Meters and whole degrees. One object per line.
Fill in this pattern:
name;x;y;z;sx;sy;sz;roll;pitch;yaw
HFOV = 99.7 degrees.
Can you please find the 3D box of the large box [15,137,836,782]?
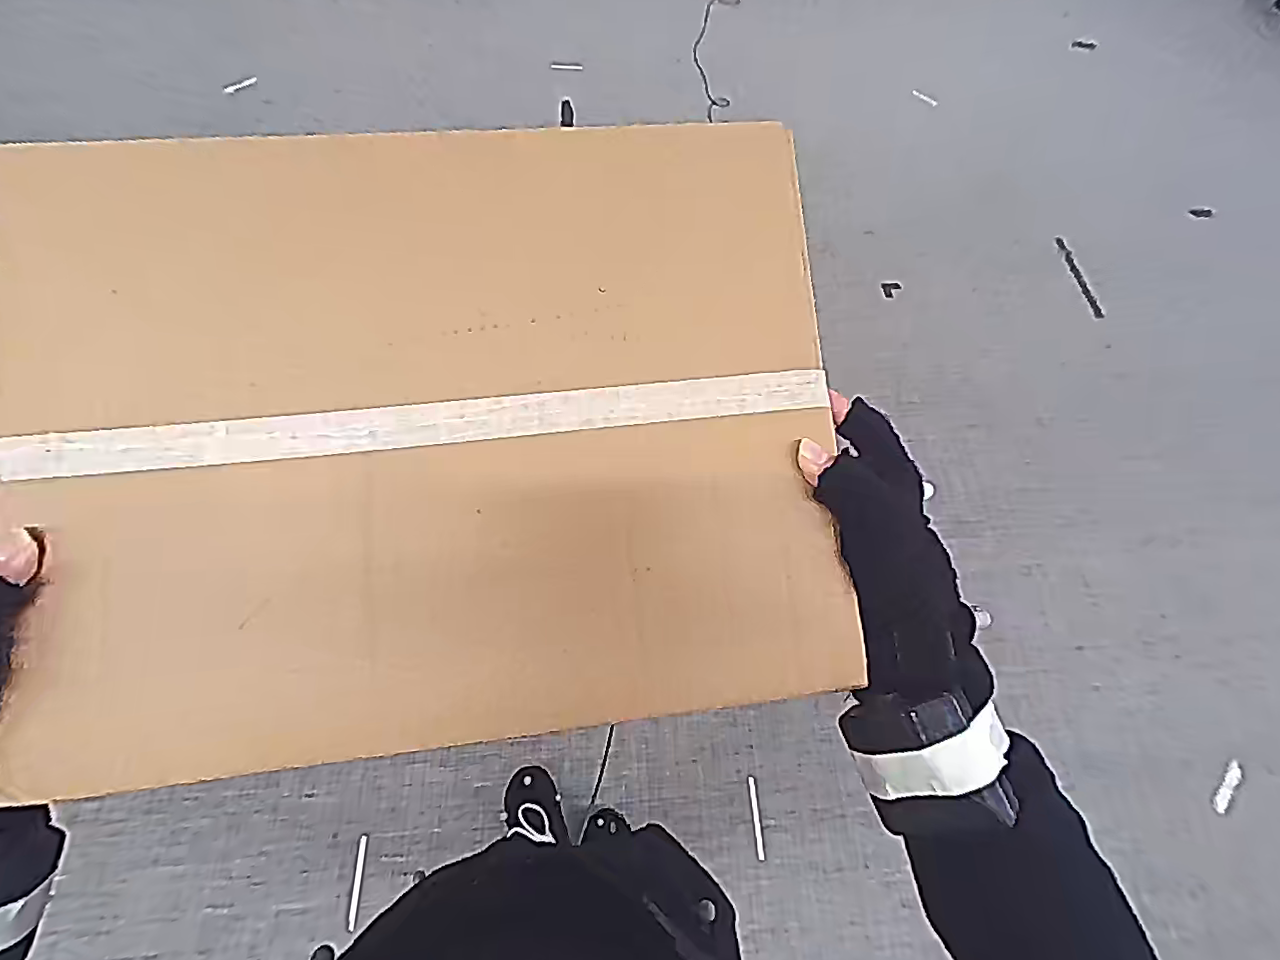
large box;-0.117;-0.016;0.433;0.408;0.320;0.320;-5;84;-6
